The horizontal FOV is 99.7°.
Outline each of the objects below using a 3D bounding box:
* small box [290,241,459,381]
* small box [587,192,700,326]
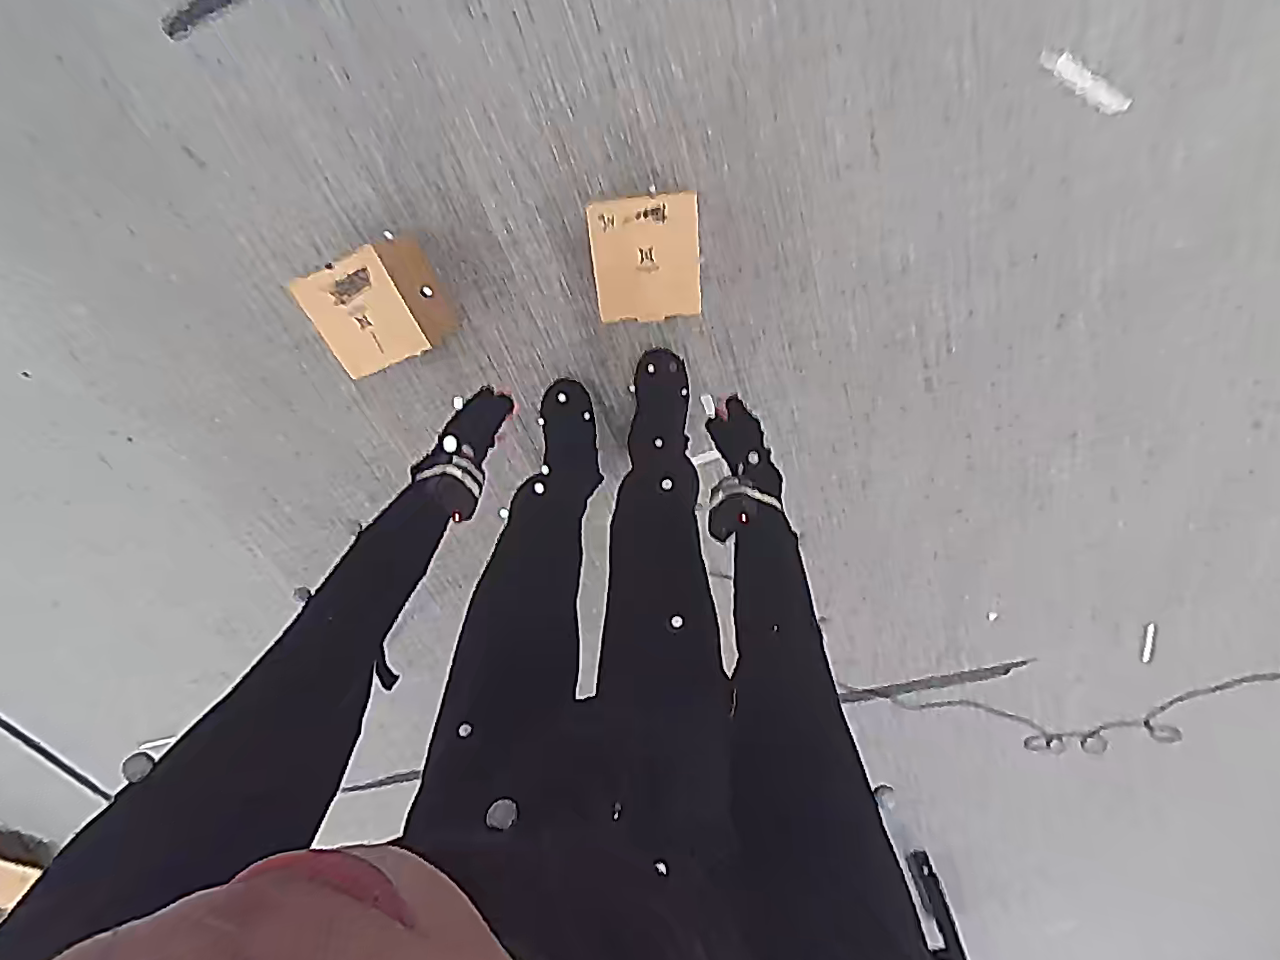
[{"bbox_3d":[-0.449,-0.303,0.947,0.168,0.176,0.179,-18,118,12],"label":"small box"},{"bbox_3d":[0.012,-0.369,0.895,0.168,0.176,0.179,-4,120,4],"label":"small box"}]
